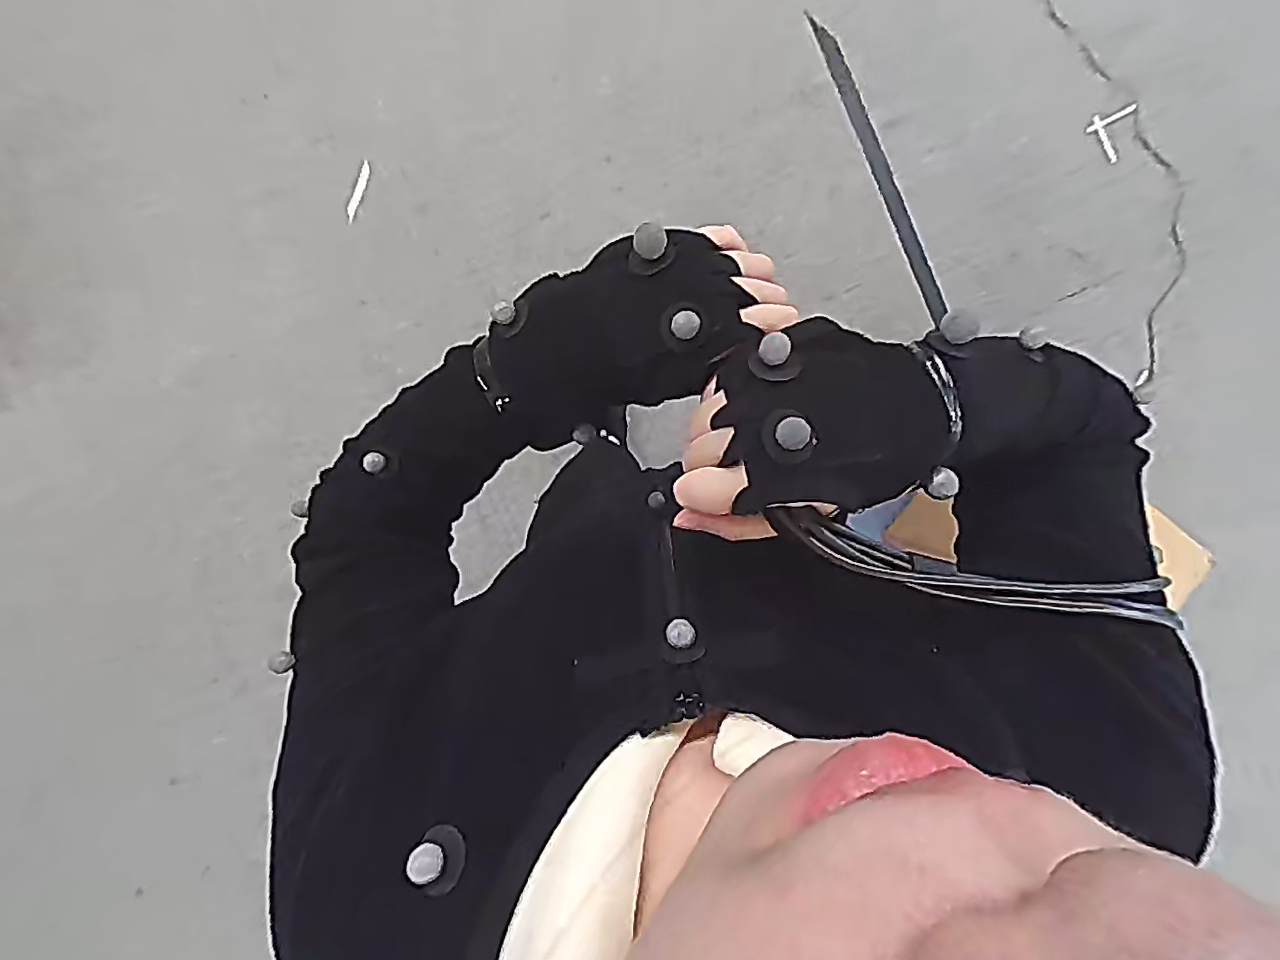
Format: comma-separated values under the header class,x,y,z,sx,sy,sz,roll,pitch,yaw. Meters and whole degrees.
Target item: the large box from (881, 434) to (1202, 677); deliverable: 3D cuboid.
class,x,y,z,sx,sy,sz,roll,pitch,yaw
large box,0.834,0.141,1.184,0.408,0.320,0.320,38,91,-3
